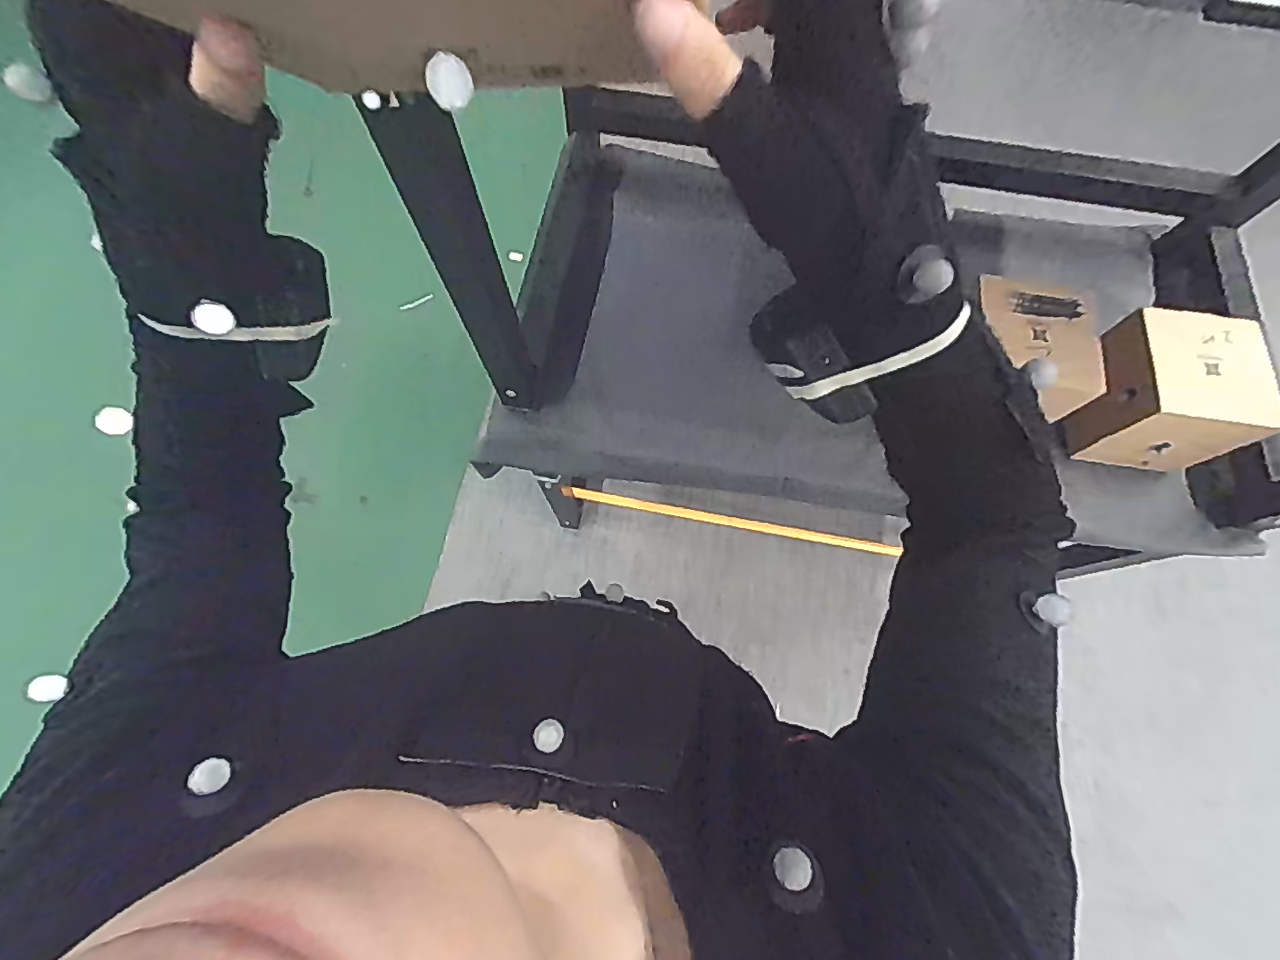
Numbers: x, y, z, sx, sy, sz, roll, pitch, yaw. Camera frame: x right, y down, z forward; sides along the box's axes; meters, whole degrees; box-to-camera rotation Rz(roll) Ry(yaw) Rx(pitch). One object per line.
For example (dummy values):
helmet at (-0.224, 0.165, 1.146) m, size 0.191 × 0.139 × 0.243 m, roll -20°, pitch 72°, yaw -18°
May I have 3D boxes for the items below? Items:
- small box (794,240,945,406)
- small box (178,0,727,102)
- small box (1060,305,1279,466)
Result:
small box at (0.354, -0.240, 0.860) m, size 0.168 × 0.176 × 0.179 m, roll 13°, pitch 71°, yaw 4°
small box at (-0.057, -0.212, 0.125) m, size 0.168 × 0.176 × 0.179 m, roll 3°, pitch 115°, yaw 6°
small box at (0.788, -0.135, 0.825) m, size 0.168 × 0.176 × 0.179 m, roll 8°, pitch 70°, yaw 2°
